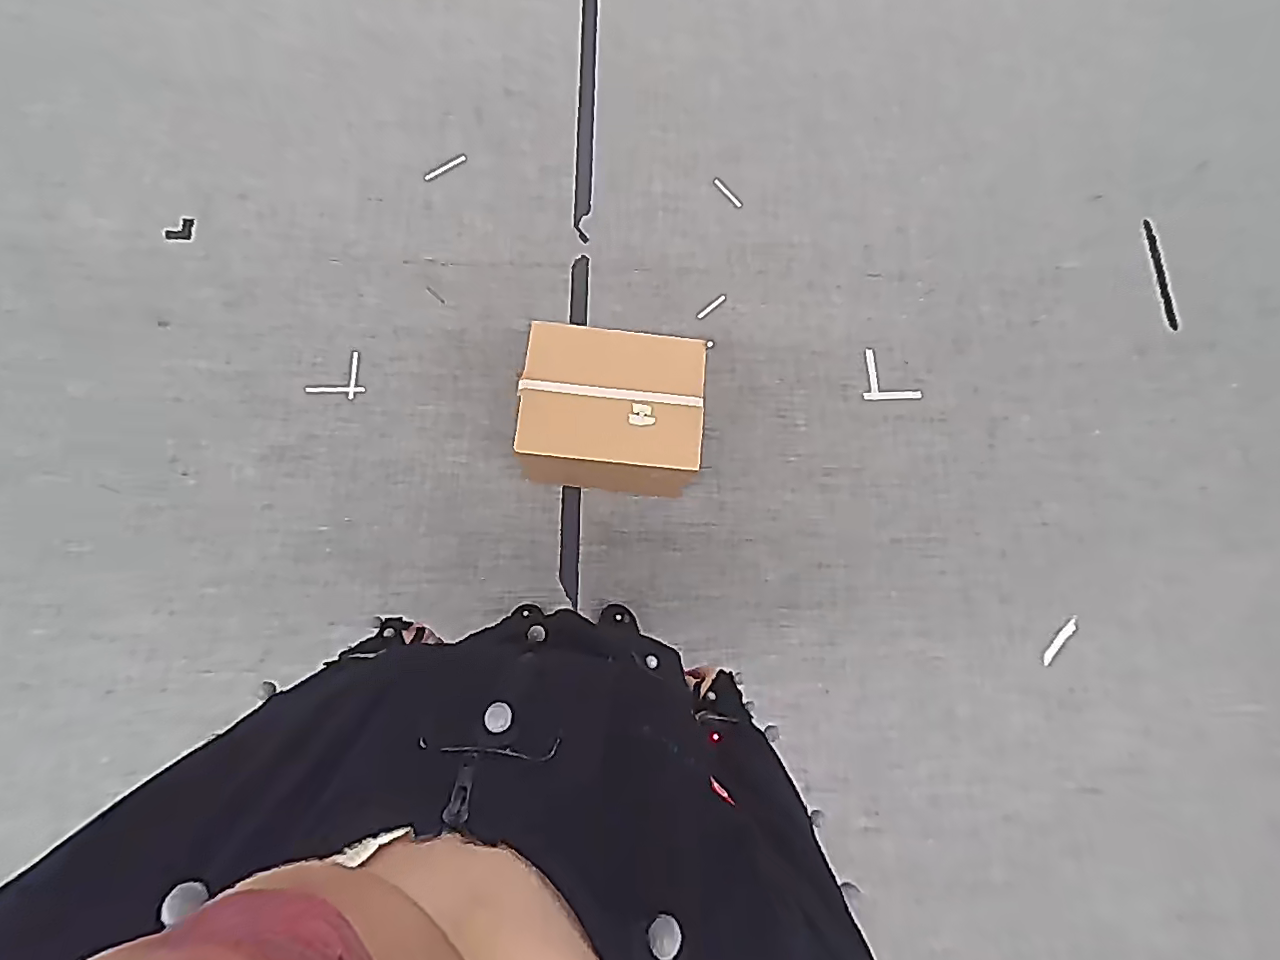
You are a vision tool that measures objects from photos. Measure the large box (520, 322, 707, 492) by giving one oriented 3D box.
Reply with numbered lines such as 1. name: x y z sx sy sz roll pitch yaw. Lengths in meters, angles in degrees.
1. large box: -0.067 -0.161 1.345 0.408 0.320 0.320 6 78 -4
